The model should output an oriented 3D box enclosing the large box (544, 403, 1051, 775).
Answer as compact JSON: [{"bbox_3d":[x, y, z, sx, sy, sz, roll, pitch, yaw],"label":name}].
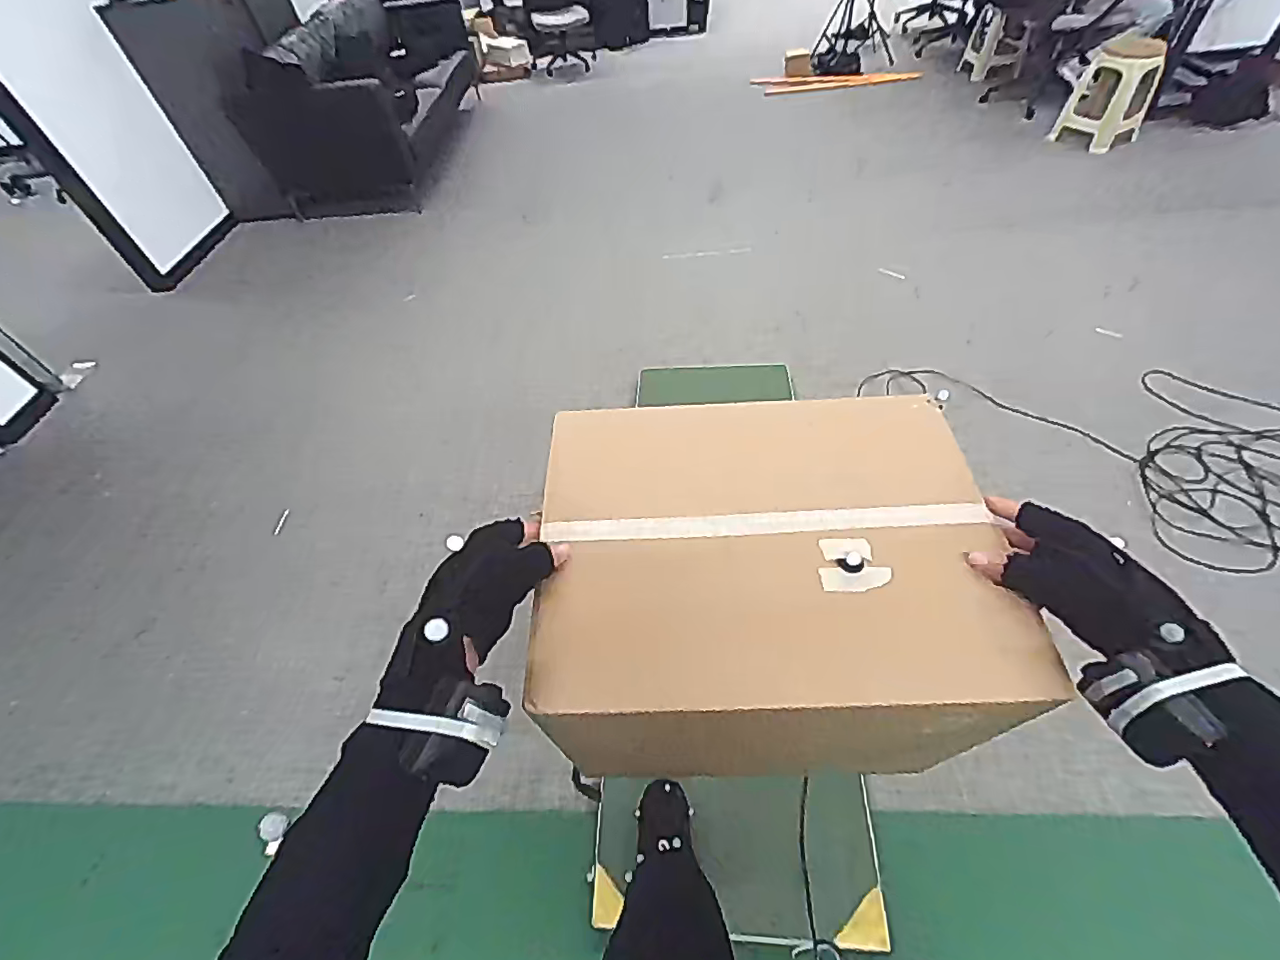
[{"bbox_3d":[0.121,0.136,0.625,0.408,0.320,0.320,-2,53,1],"label":"large box"}]
